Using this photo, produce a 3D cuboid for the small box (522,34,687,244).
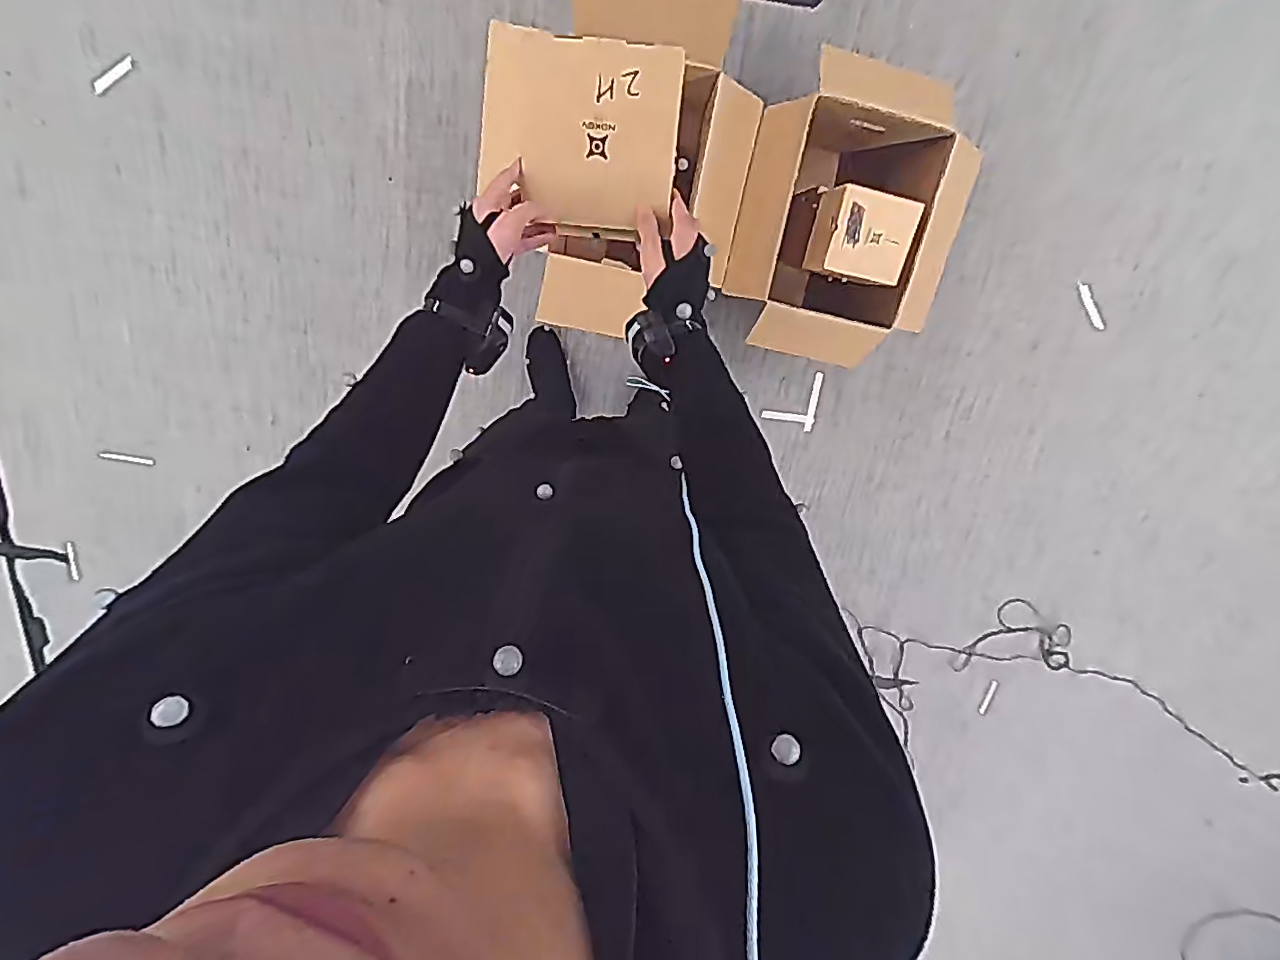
[{"bbox_3d":[-0.038,-0.383,0.642,0.168,0.176,0.179,6,111,-1],"label":"small box"}]
